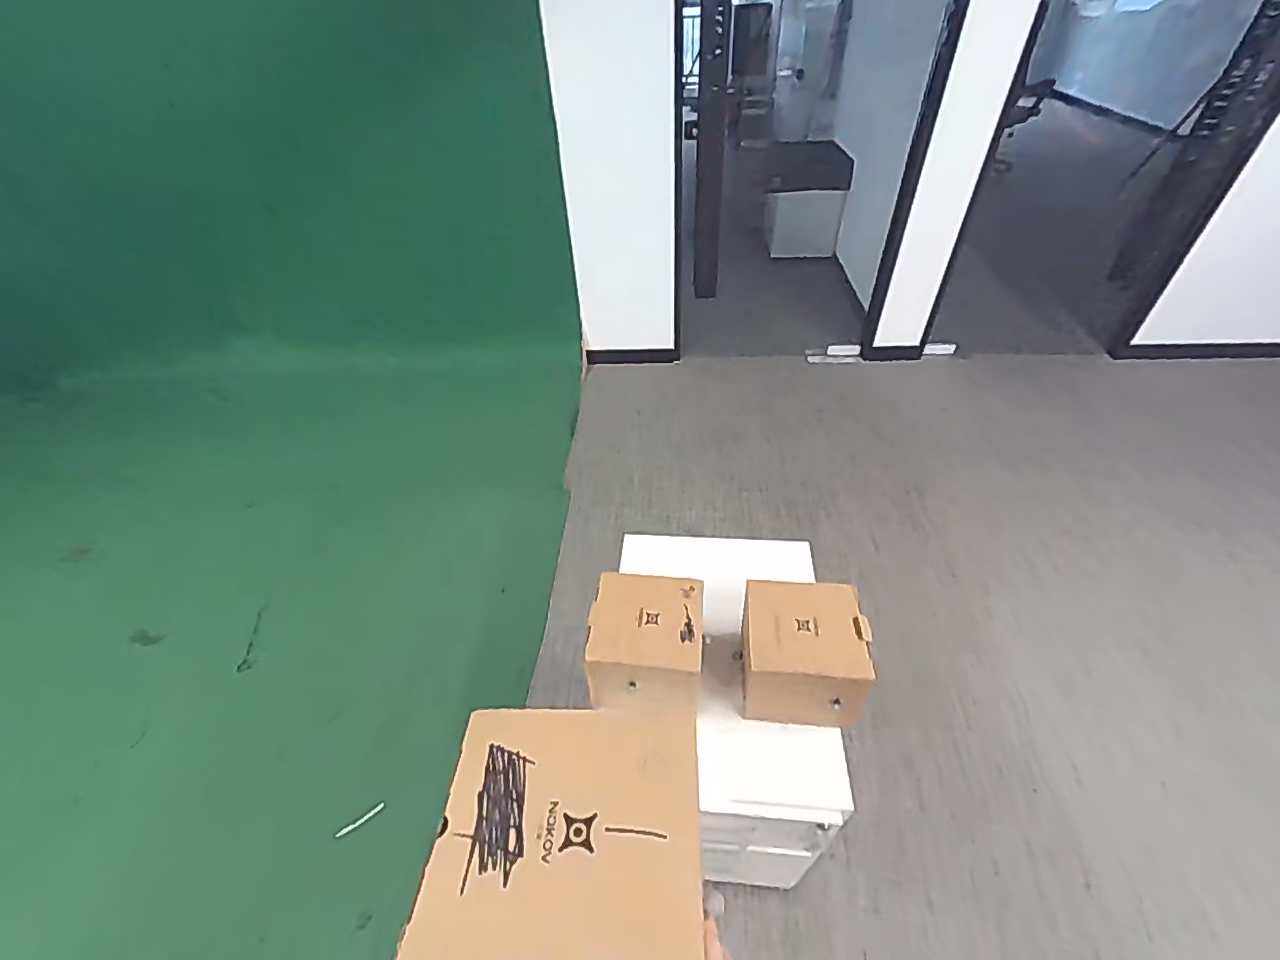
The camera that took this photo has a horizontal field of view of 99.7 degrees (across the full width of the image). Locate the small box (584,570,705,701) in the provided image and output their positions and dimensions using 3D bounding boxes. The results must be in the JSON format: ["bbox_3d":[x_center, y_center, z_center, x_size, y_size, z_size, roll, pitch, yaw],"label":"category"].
[{"bbox_3d":[0.015,0.269,0.897,0.179,0.176,0.168,3,45,6],"label":"small box"}]

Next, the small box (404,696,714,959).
[{"bbox_3d":[-0.036,0.283,0.403,0.179,0.176,0.168,-1,38,4],"label":"small box"}]

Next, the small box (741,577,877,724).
[{"bbox_3d":[0.260,0.277,0.876,0.179,0.176,0.168,1,43,7],"label":"small box"}]
